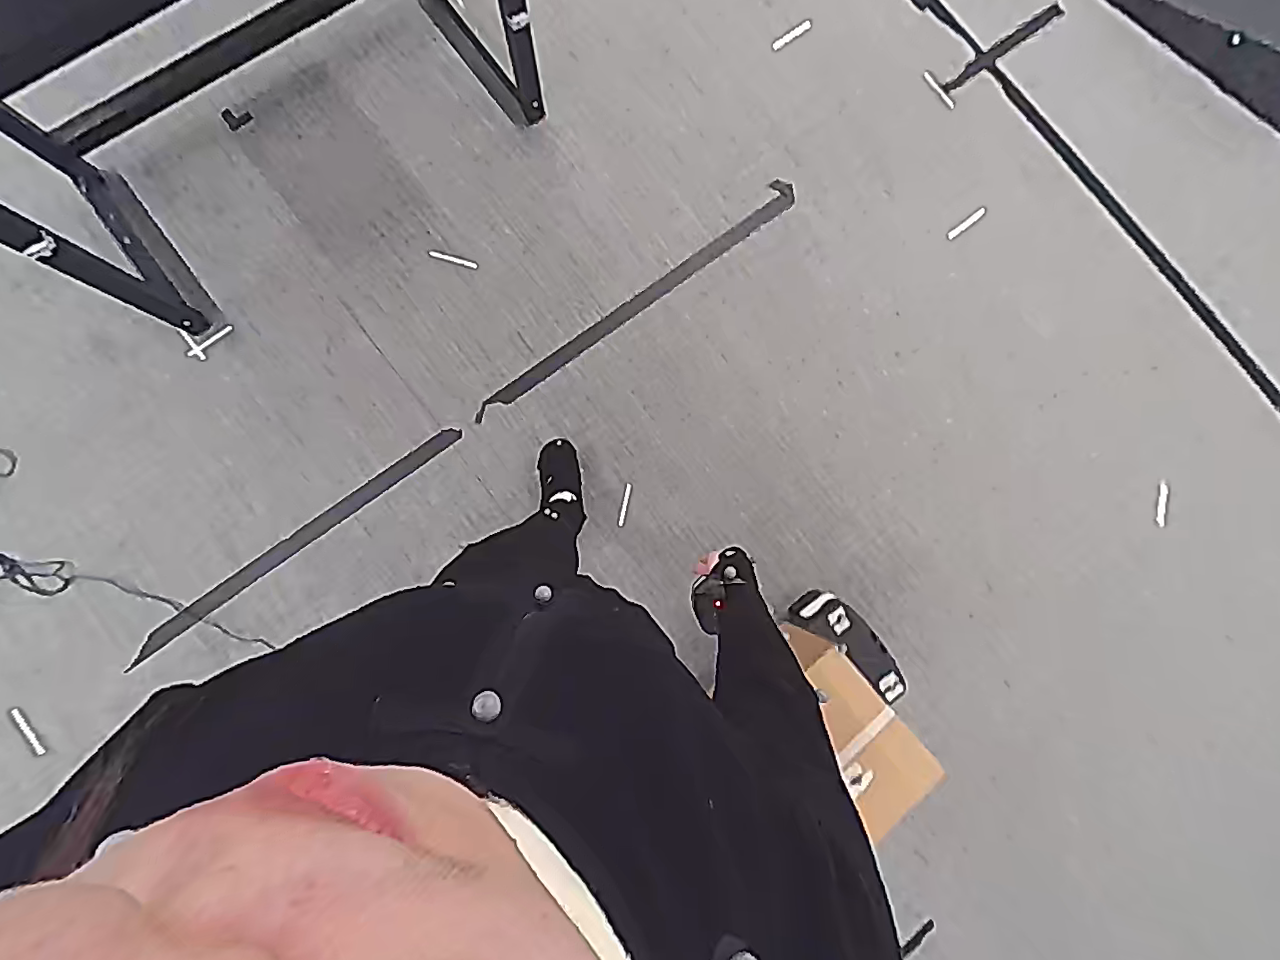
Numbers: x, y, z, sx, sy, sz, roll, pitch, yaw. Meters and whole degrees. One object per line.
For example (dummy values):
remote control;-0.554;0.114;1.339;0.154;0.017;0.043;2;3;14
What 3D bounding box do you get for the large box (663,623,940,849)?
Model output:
large box;0.303;0.564;1.132;0.408;0.320;0.320;-40;88;-7
